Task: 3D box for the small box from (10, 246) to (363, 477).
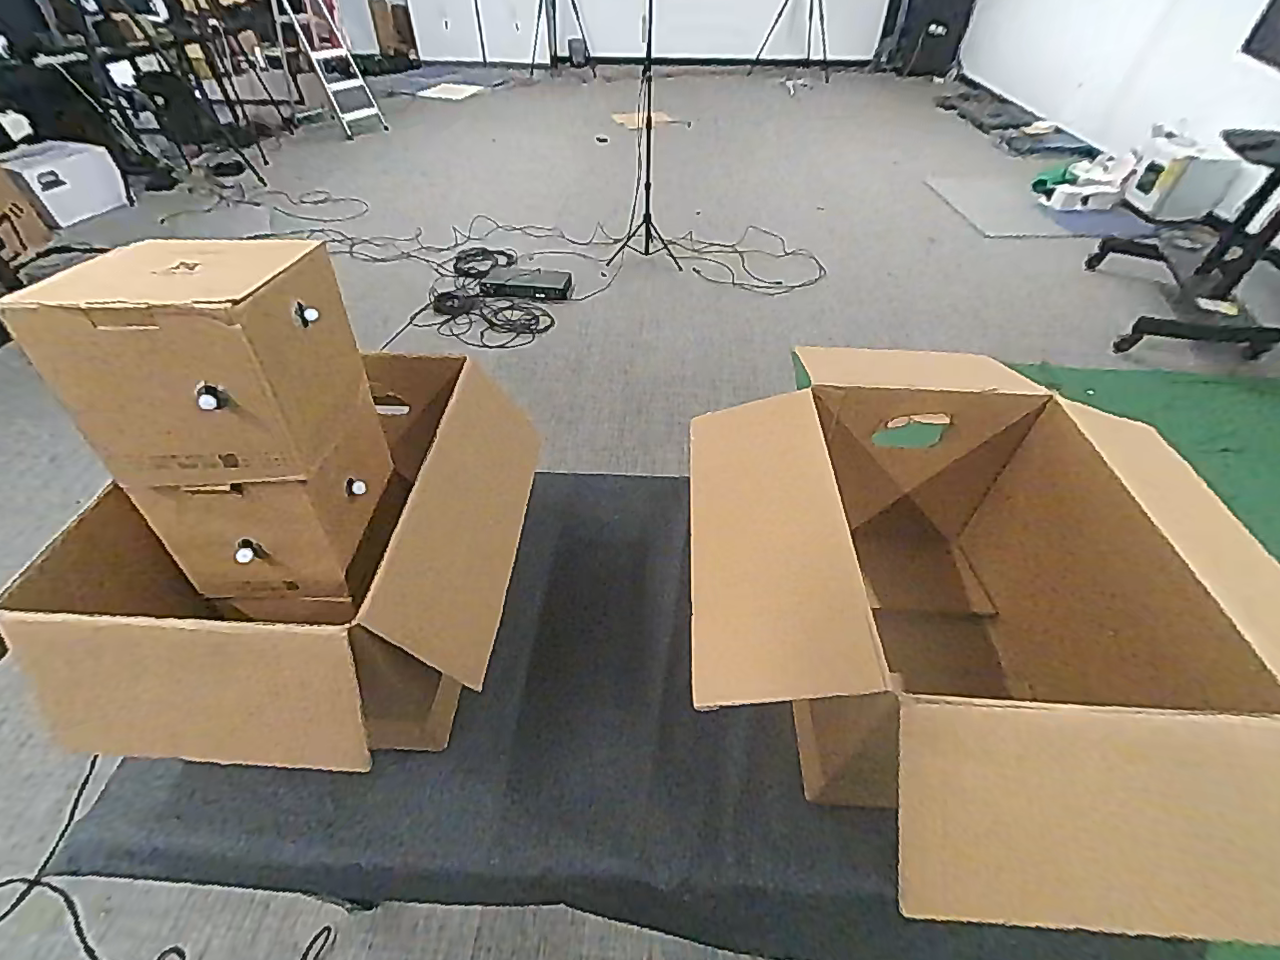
[{"bbox_3d":[-0.391,-0.114,0.516,0.168,0.176,0.179,0,36,-4],"label":"small box"}]
